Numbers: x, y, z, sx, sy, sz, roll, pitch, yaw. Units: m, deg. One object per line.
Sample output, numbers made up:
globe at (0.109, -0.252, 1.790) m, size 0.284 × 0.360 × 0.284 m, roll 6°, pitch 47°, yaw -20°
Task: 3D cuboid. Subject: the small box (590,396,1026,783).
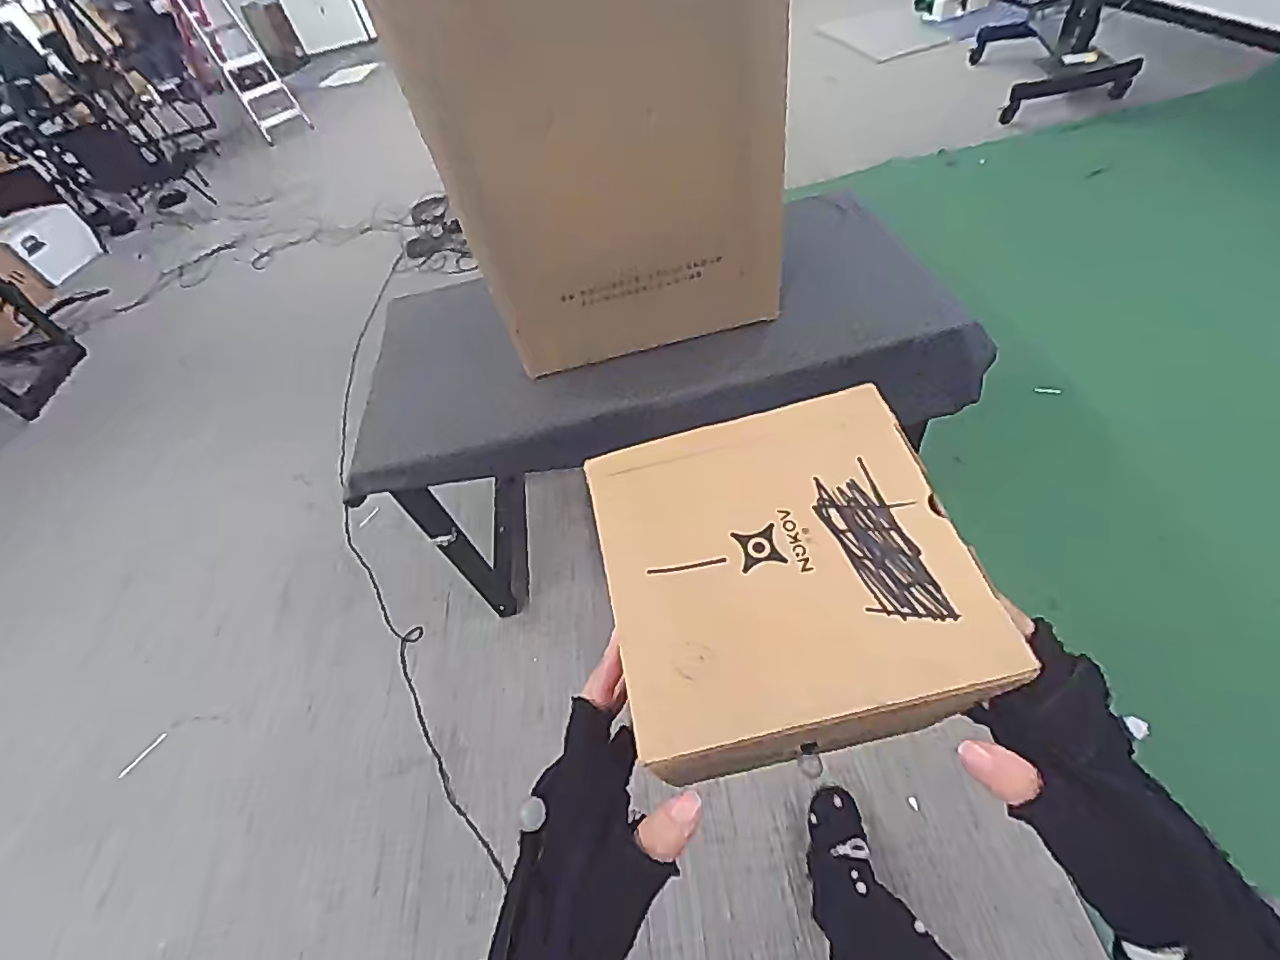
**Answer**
small box at (0.080, 0.079, 0.346) m, size 0.179 × 0.176 × 0.168 m, roll -16°, pitch 57°, yaw -2°
